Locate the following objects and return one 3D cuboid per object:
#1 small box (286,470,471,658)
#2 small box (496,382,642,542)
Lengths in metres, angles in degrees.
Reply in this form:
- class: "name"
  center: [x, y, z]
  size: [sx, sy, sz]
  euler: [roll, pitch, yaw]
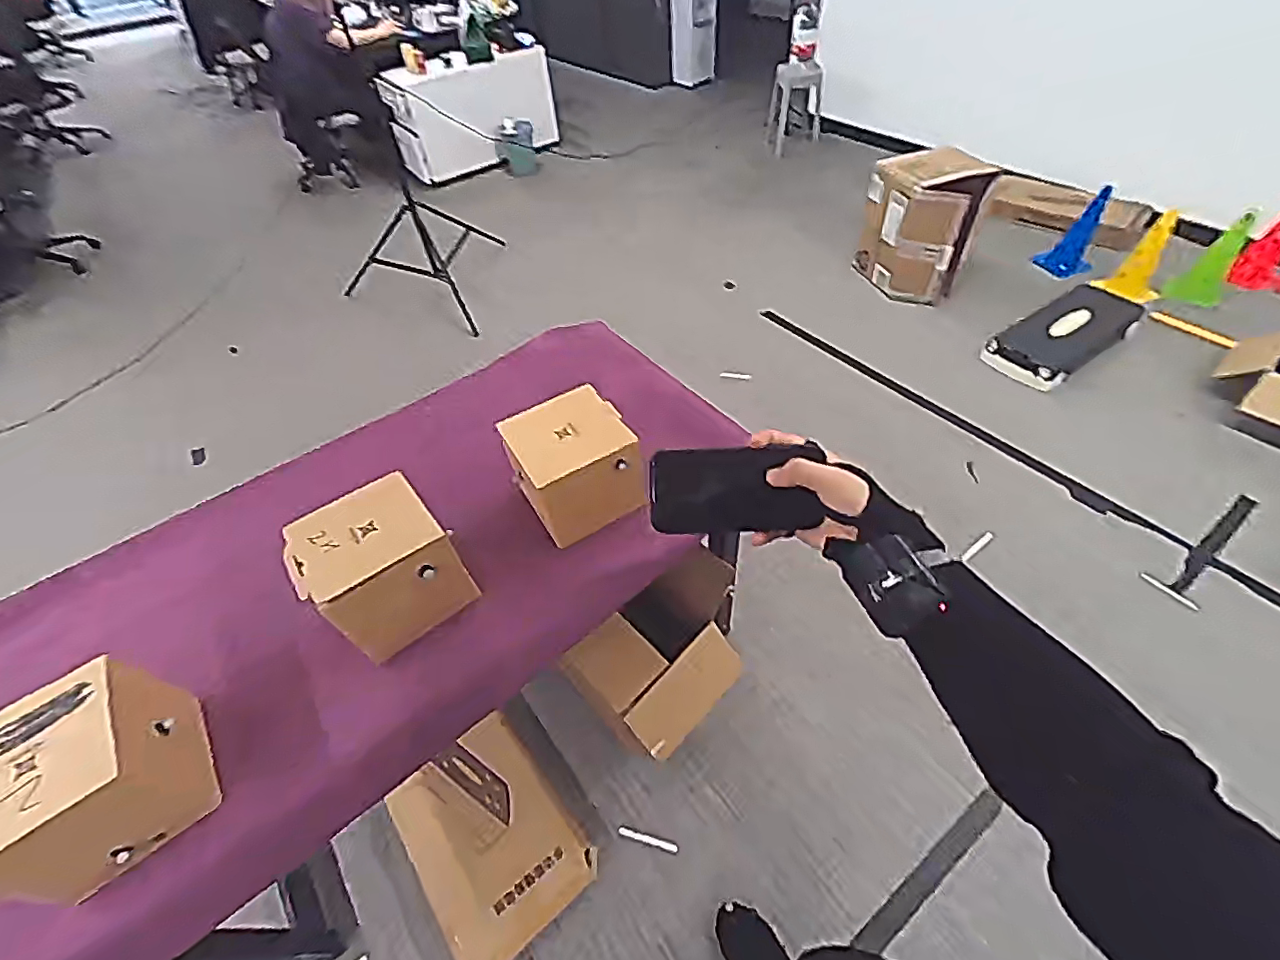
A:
- class: "small box"
  center: [-0.372, 0.124, 0.802]
  size: [0.179, 0.176, 0.168]
  euler: [-34, 53, -21]
- class: "small box"
  center: [-0.111, -0.027, 0.905]
  size: [0.179, 0.176, 0.168]
  euler: [-28, 53, -17]
